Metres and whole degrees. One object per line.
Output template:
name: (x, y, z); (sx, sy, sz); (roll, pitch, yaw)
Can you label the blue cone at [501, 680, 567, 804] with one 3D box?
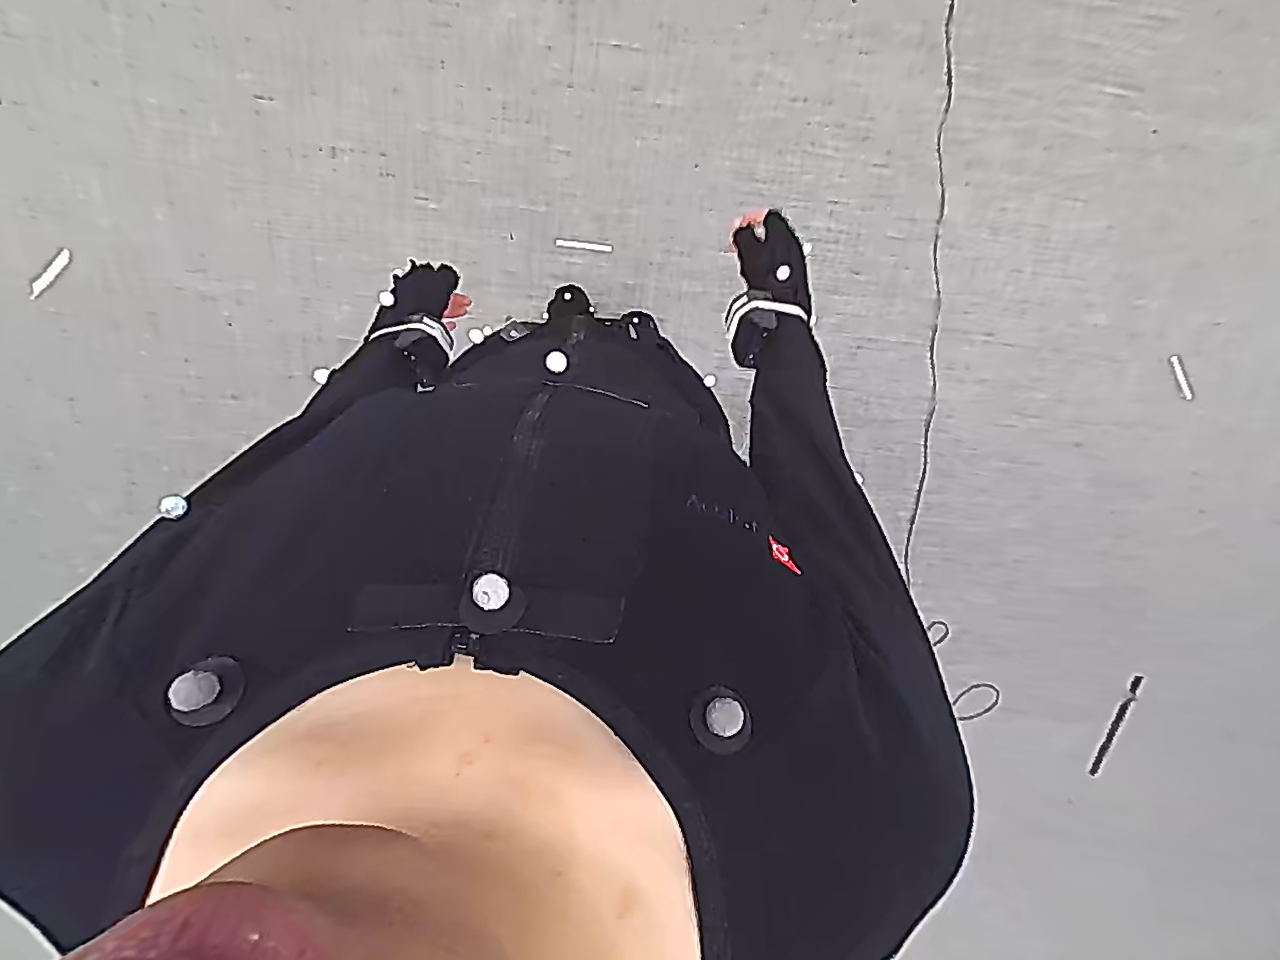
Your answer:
blue cone: (-0.328, 0.766, 1.566); (0.192, 0.380, 0.193); (2, 107, 0)
